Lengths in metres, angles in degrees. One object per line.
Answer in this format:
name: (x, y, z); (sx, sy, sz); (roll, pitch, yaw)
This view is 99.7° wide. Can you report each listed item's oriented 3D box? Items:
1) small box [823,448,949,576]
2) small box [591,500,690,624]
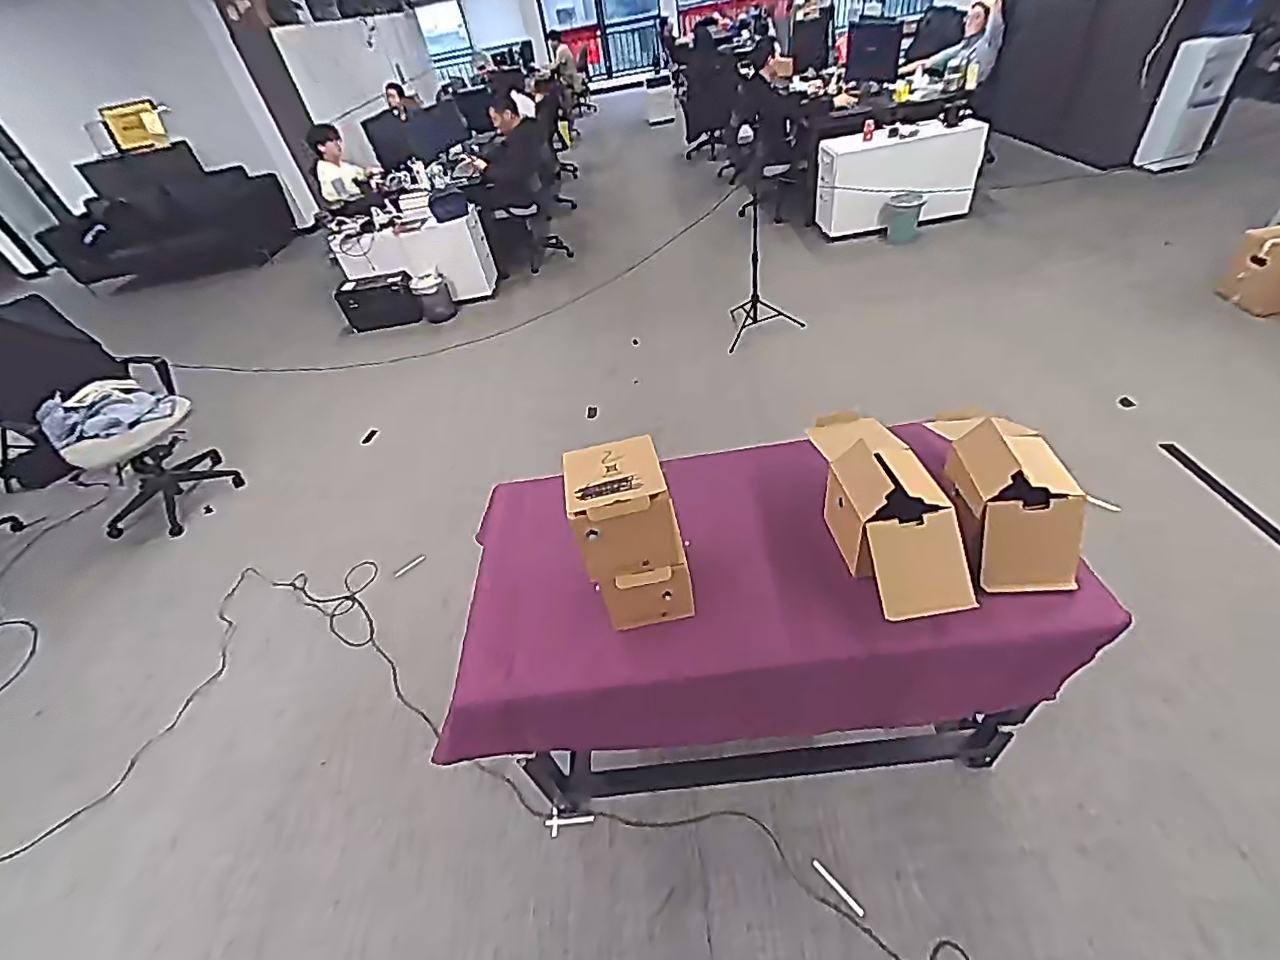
small box: (0.479, 0.065, 1.085); (0.168, 0.176, 0.179); (-11, 42, 2)
small box: (0.002, 0.170, 1.082); (0.168, 0.176, 0.179); (-11, 42, 0)
